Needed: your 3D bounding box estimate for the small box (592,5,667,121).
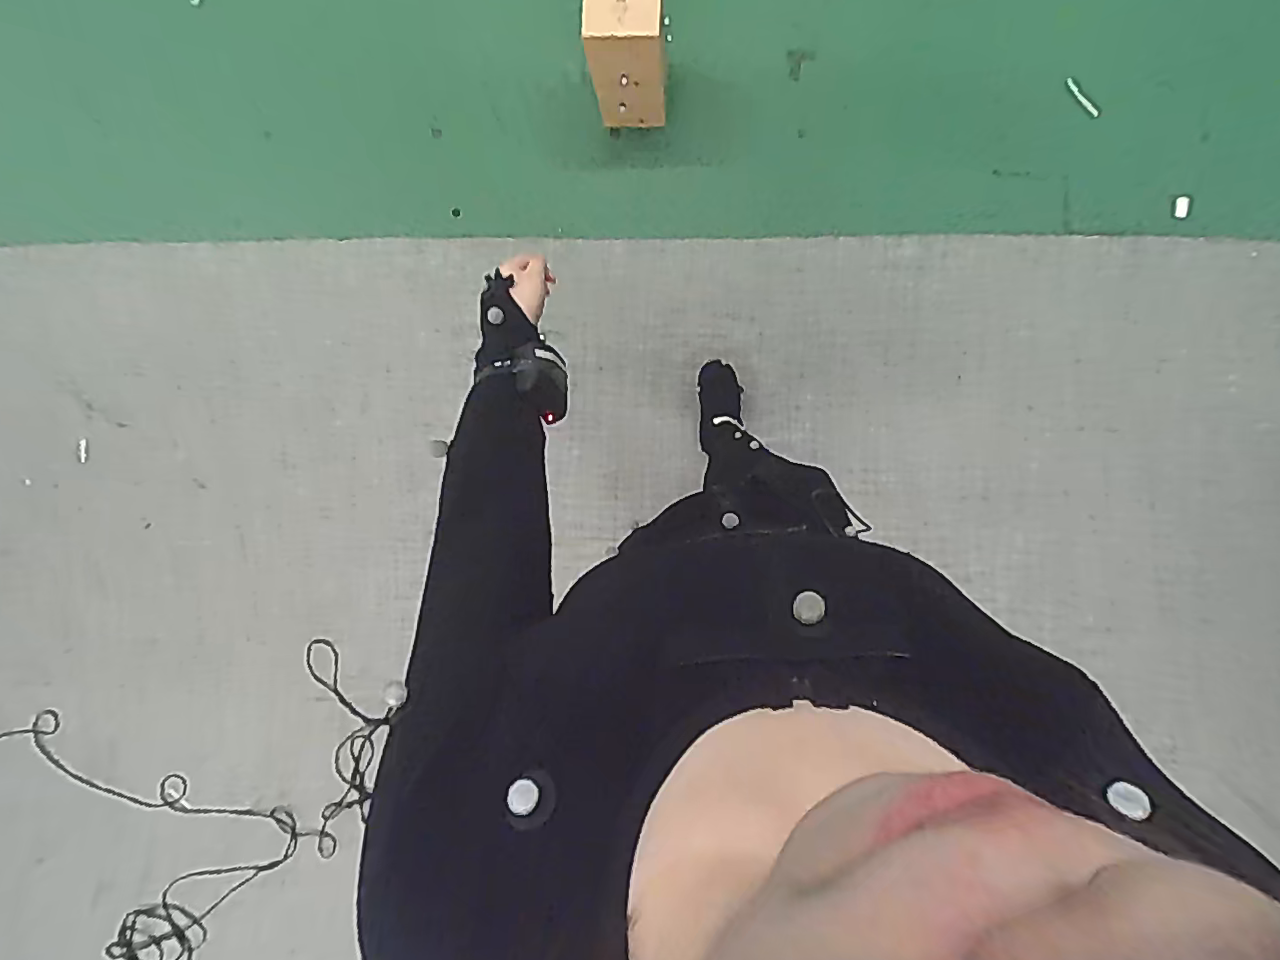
[{"bbox_3d":[-0.021,-1.034,1.354,0.168,0.176,0.179,3,93,4],"label":"small box"}]
